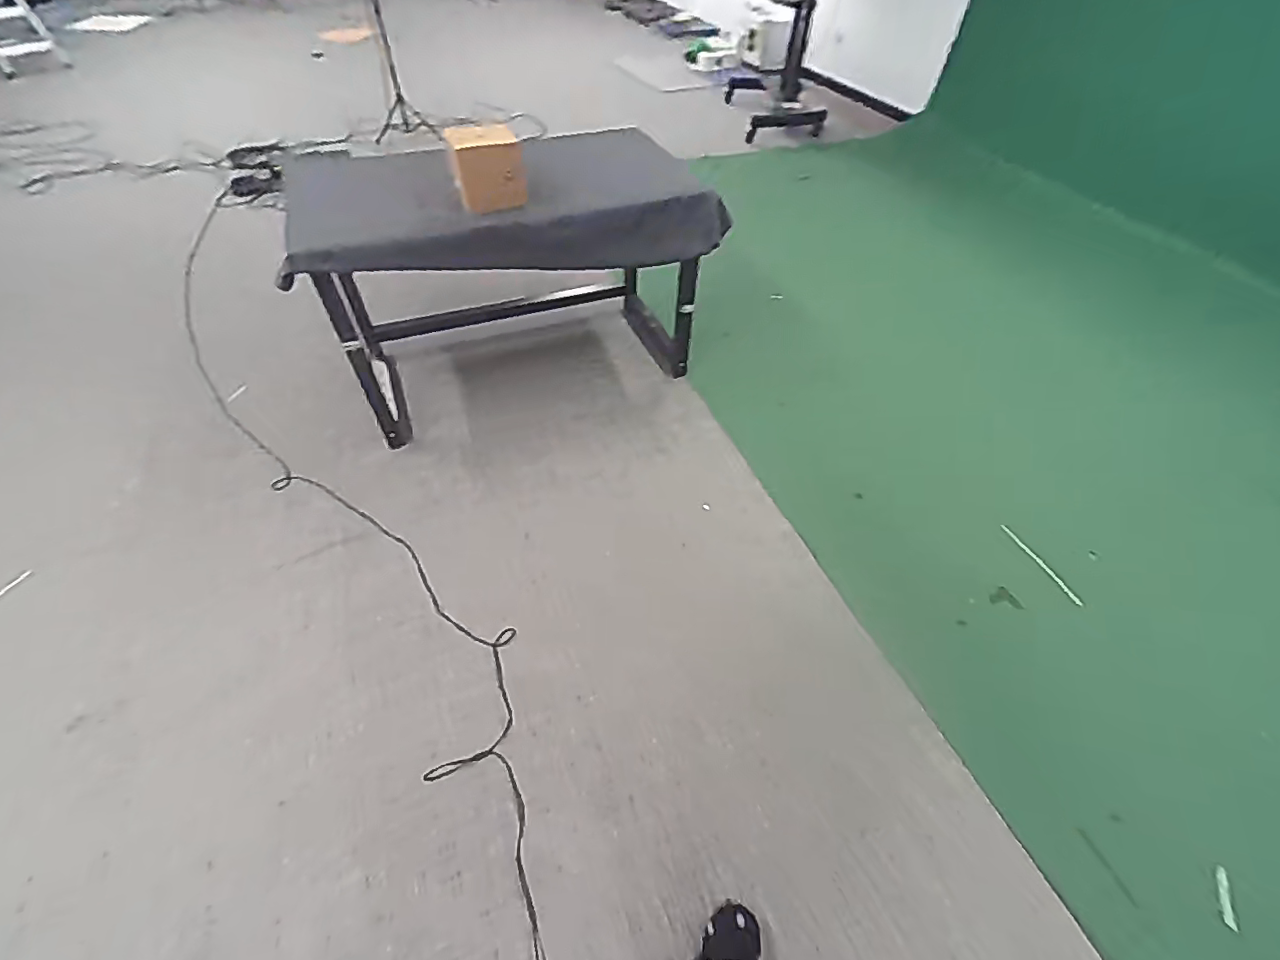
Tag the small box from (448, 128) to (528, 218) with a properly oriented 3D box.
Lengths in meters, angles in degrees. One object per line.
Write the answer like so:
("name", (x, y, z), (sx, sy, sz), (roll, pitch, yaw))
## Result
("small box", (-0.427, -0.875, 1.542), (0.179, 0.176, 0.168), (-19, 51, -16))
